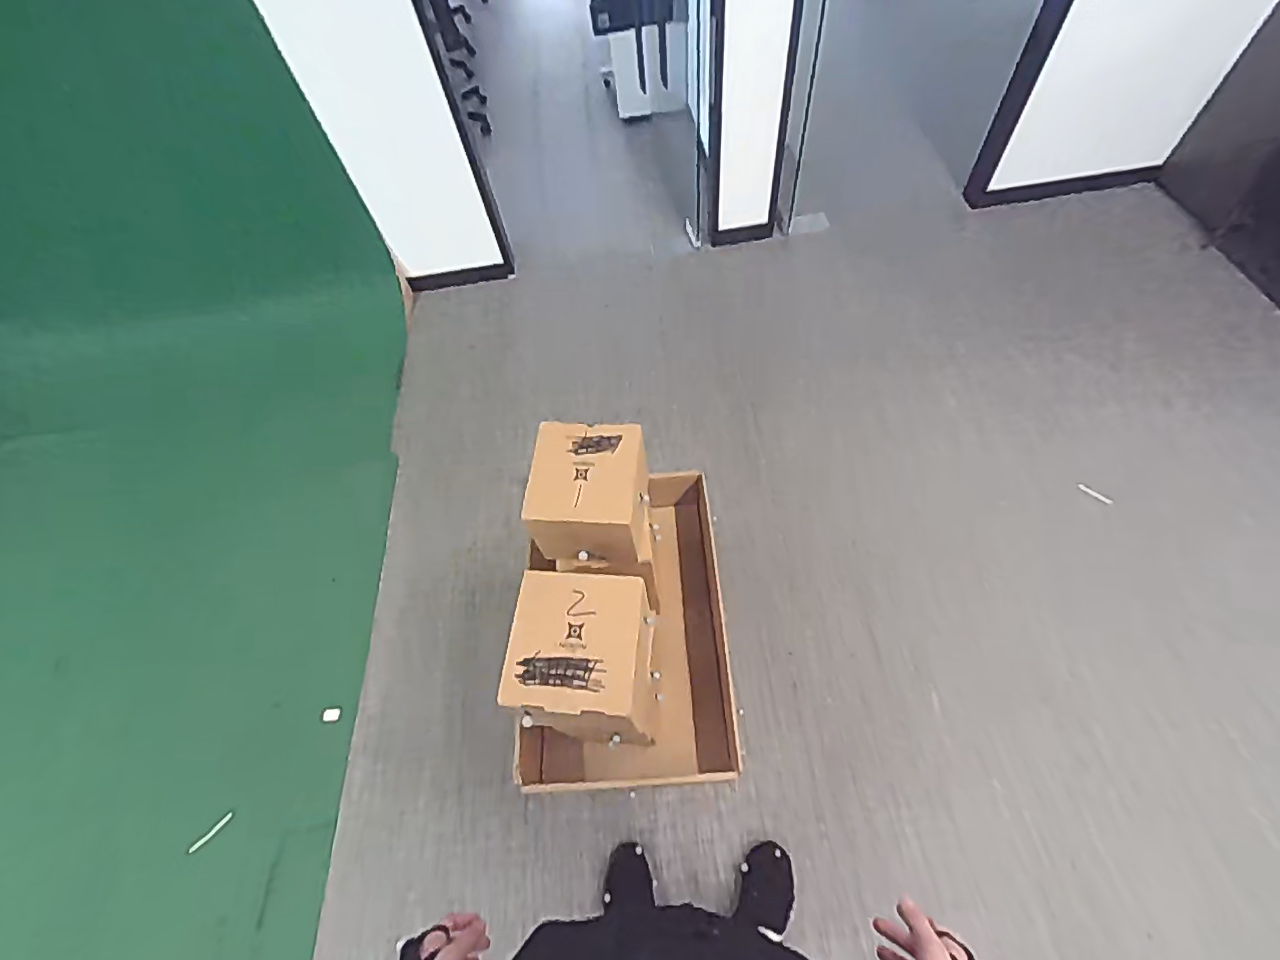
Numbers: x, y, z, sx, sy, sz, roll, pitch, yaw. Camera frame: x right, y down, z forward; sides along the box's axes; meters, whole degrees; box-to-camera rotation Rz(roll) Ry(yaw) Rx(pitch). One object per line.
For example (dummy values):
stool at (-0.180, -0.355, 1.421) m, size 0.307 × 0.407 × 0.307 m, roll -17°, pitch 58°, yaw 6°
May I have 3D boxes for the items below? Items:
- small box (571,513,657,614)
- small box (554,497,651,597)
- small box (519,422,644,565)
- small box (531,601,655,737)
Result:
small box at (-0.054, 0.189, 1.176) m, size 0.168 × 0.176 × 0.179 m, roll -6°, pitch 60°, yaw 3°
small box at (-0.068, 0.110, 1.035) m, size 0.168 × 0.176 × 0.179 m, roll -6°, pitch 61°, yaw 1°
small box at (-0.084, 0.025, 0.895) m, size 0.168 × 0.176 × 0.179 m, roll 2°, pitch 62°, yaw 6°
small box at (-0.066, 0.320, 0.903) m, size 0.168 × 0.176 × 0.179 m, roll 4°, pitch 58°, yaw 7°
